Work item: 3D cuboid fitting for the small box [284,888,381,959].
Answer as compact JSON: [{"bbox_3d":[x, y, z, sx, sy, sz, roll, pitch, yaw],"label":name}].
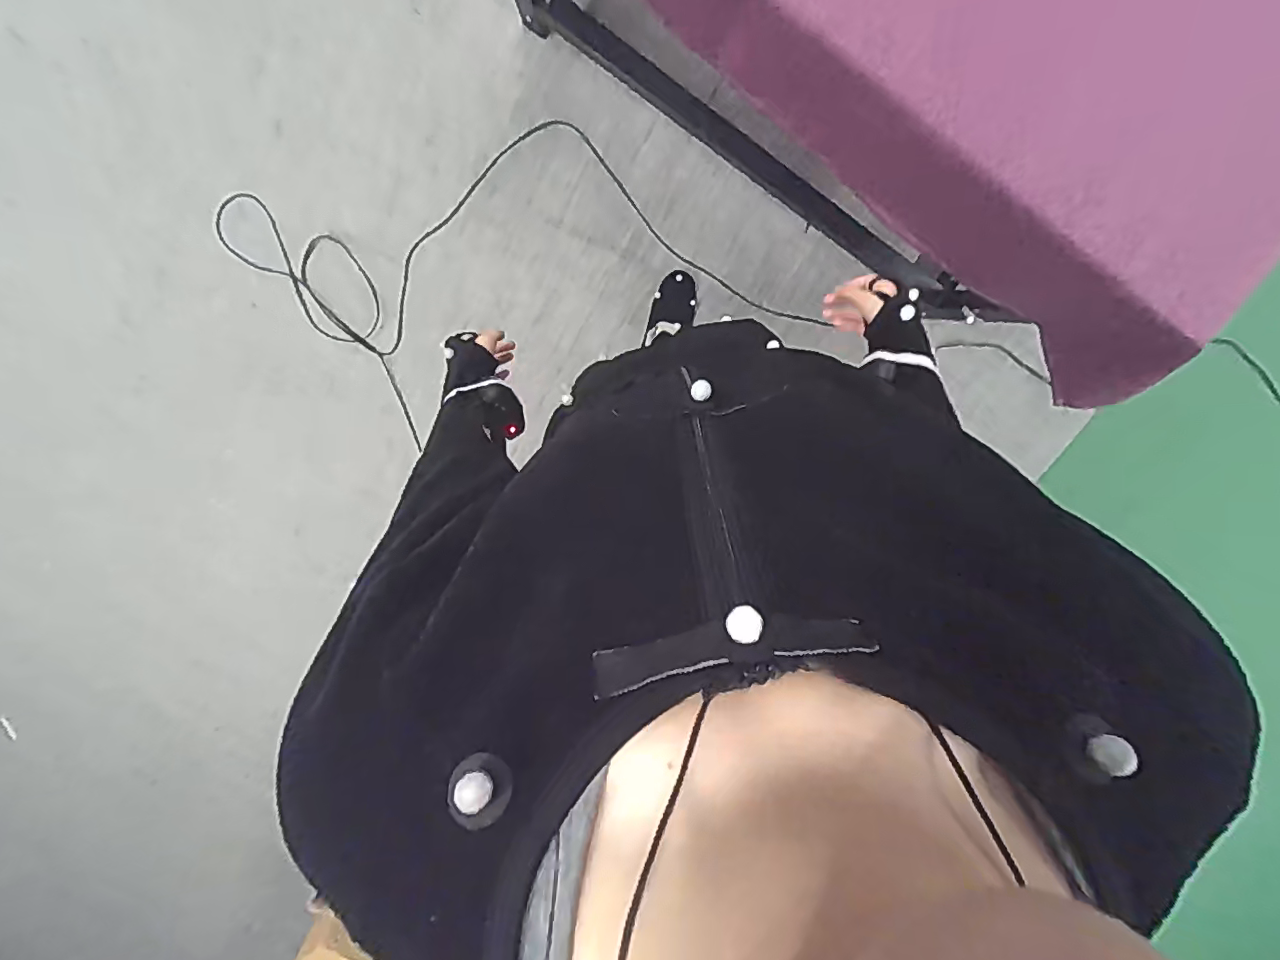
[{"bbox_3d":[-0.932,1.398,1.644,0.179,0.176,0.168,43,101,-13],"label":"small box"}]
